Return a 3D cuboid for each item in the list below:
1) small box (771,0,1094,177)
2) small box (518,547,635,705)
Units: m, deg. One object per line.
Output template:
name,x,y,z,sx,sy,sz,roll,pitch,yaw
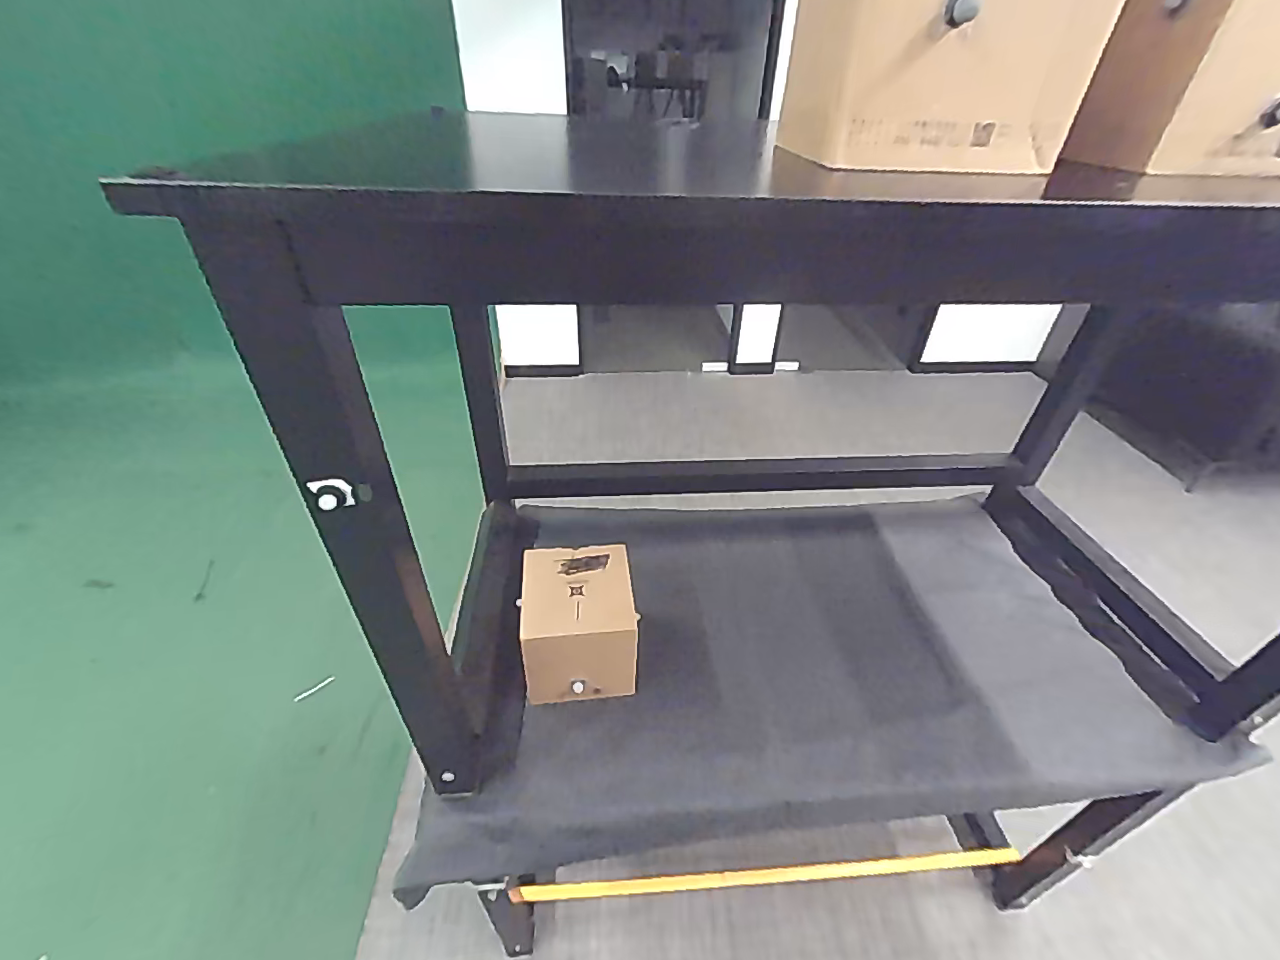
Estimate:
small box,0.208,-0.335,0.411,0.168,0.176,0.179,0,36,-2
small box,-0.100,0.229,0.861,0.168,0.176,0.179,-3,37,-6
